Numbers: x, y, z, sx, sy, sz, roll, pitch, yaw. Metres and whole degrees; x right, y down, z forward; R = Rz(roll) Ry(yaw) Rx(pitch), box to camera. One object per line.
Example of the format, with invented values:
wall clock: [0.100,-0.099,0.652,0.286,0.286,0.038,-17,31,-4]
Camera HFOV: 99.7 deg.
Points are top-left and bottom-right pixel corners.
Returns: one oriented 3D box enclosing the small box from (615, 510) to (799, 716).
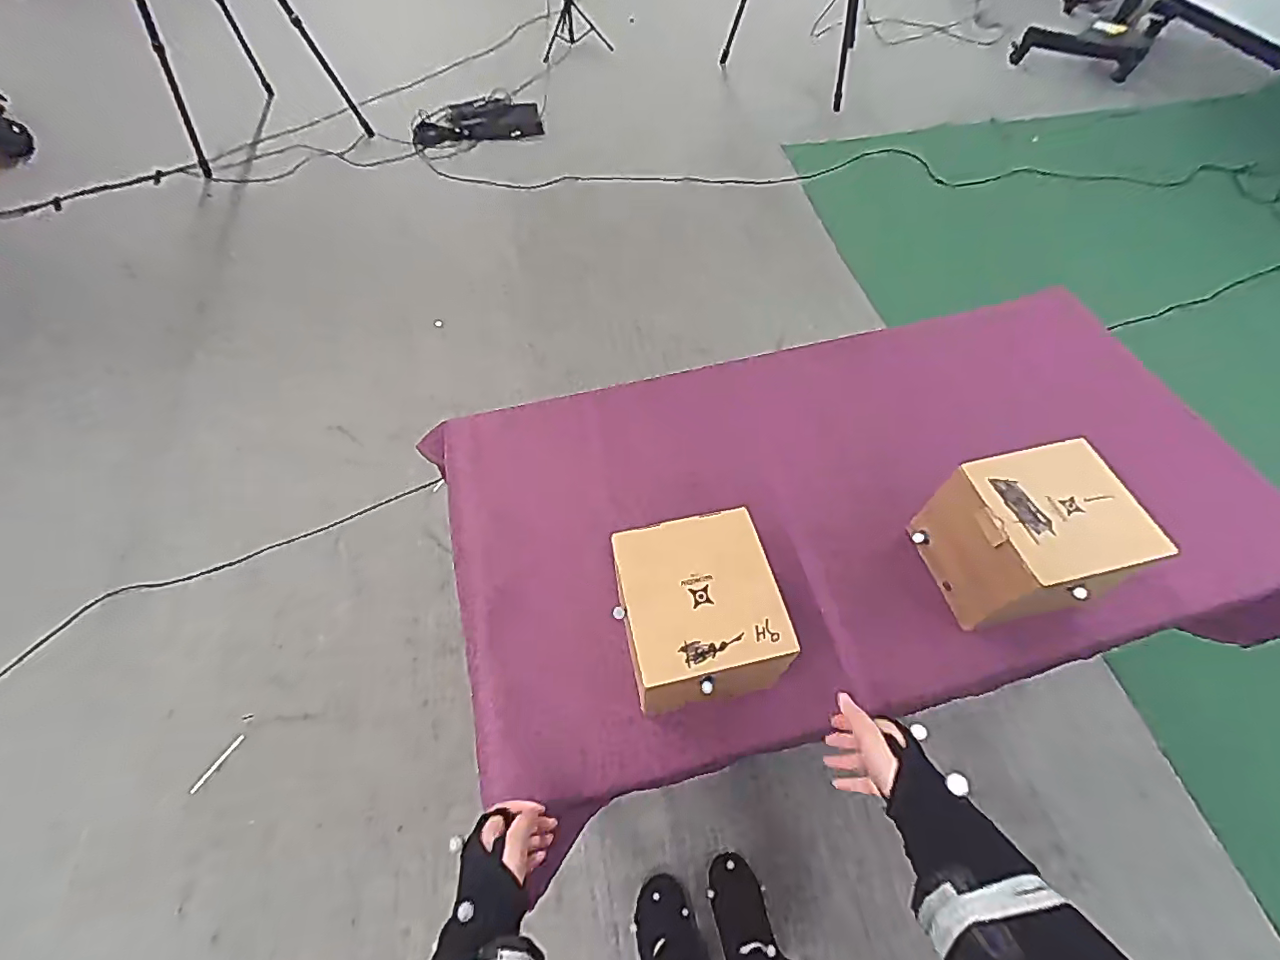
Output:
small box: [0.066,0.163,0.650,0.168,0.176,0.179,-11,58,-5]

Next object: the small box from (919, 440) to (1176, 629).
small box: [0.492,0.076,0.694,0.179,0.176,0.168,-12,59,-6]
